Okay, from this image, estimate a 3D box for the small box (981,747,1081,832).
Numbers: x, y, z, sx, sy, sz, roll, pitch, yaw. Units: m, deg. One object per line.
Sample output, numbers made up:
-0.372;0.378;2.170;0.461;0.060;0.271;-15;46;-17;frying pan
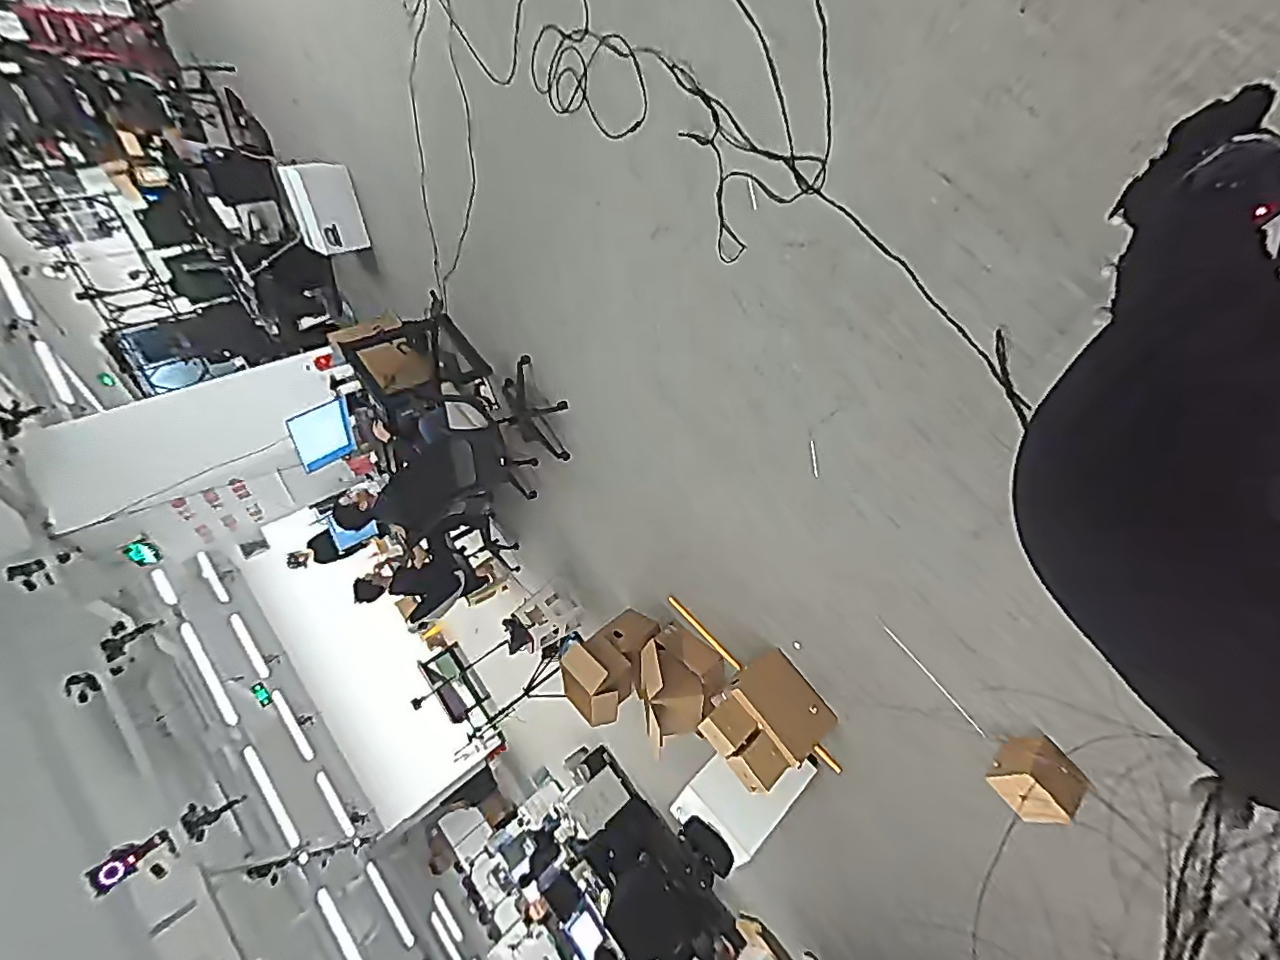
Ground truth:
1.242;0.979;1.715;0.168;0.176;0.179;49;146;15;small box
